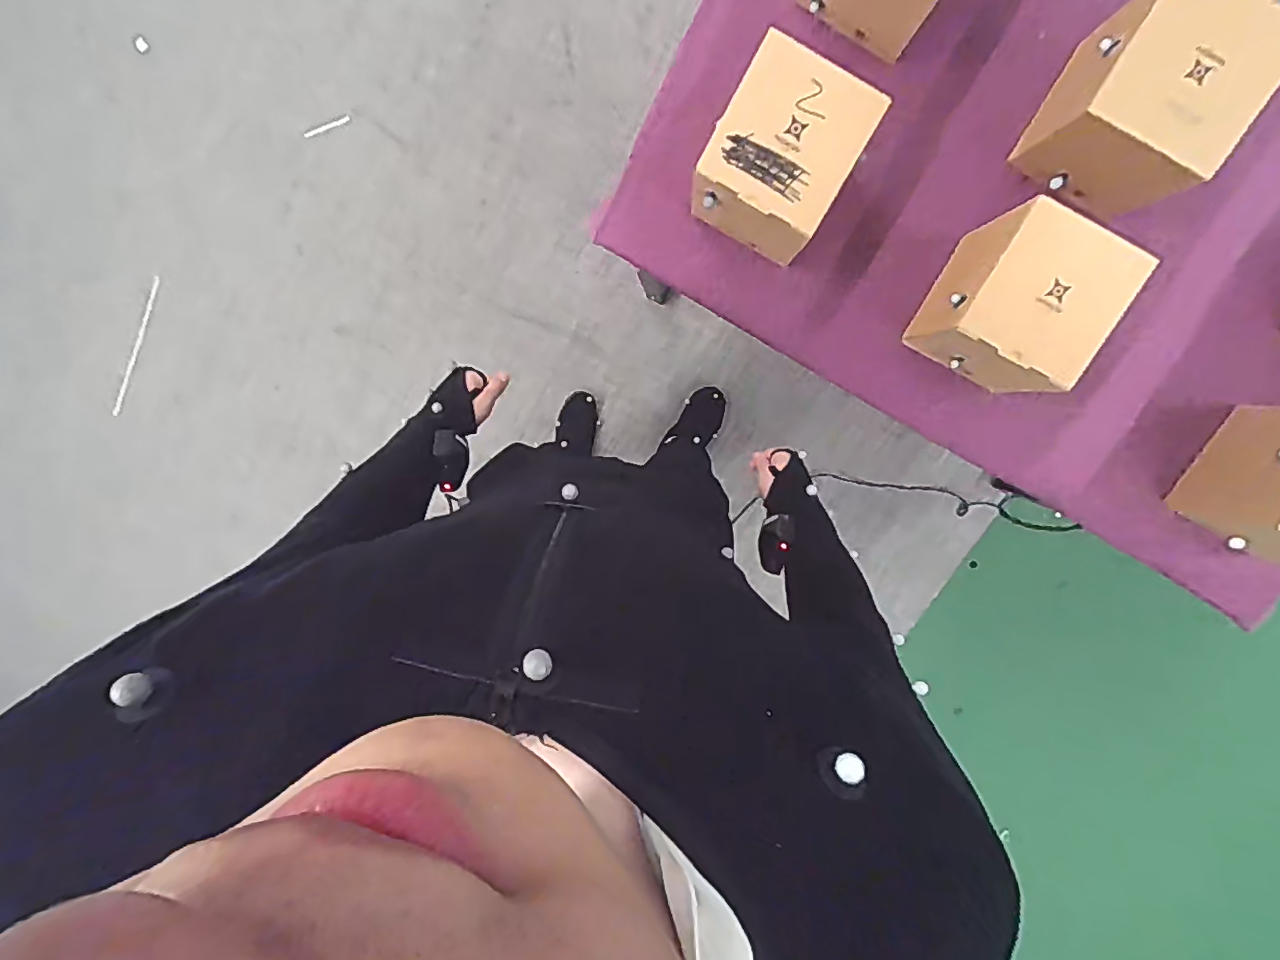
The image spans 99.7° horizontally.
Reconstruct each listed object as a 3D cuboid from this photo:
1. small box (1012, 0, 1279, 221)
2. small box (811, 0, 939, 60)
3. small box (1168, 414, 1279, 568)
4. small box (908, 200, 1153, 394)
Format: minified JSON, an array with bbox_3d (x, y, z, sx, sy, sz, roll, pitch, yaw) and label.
[{"bbox_3d":[0.626,-0.466,0.681,0.168,0.176,0.179,30,102,-1],"label":"small box"},{"bbox_3d":[0.324,-0.674,0.660,0.168,0.176,0.179,31,102,-3],"label":"small box"},{"bbox_3d":[0.909,0.020,0.744,0.168,0.176,0.179,31,100,0],"label":"small box"},{"bbox_3d":[0.504,-0.233,0.732,0.168,0.176,0.179,28,101,-2],"label":"small box"}]
